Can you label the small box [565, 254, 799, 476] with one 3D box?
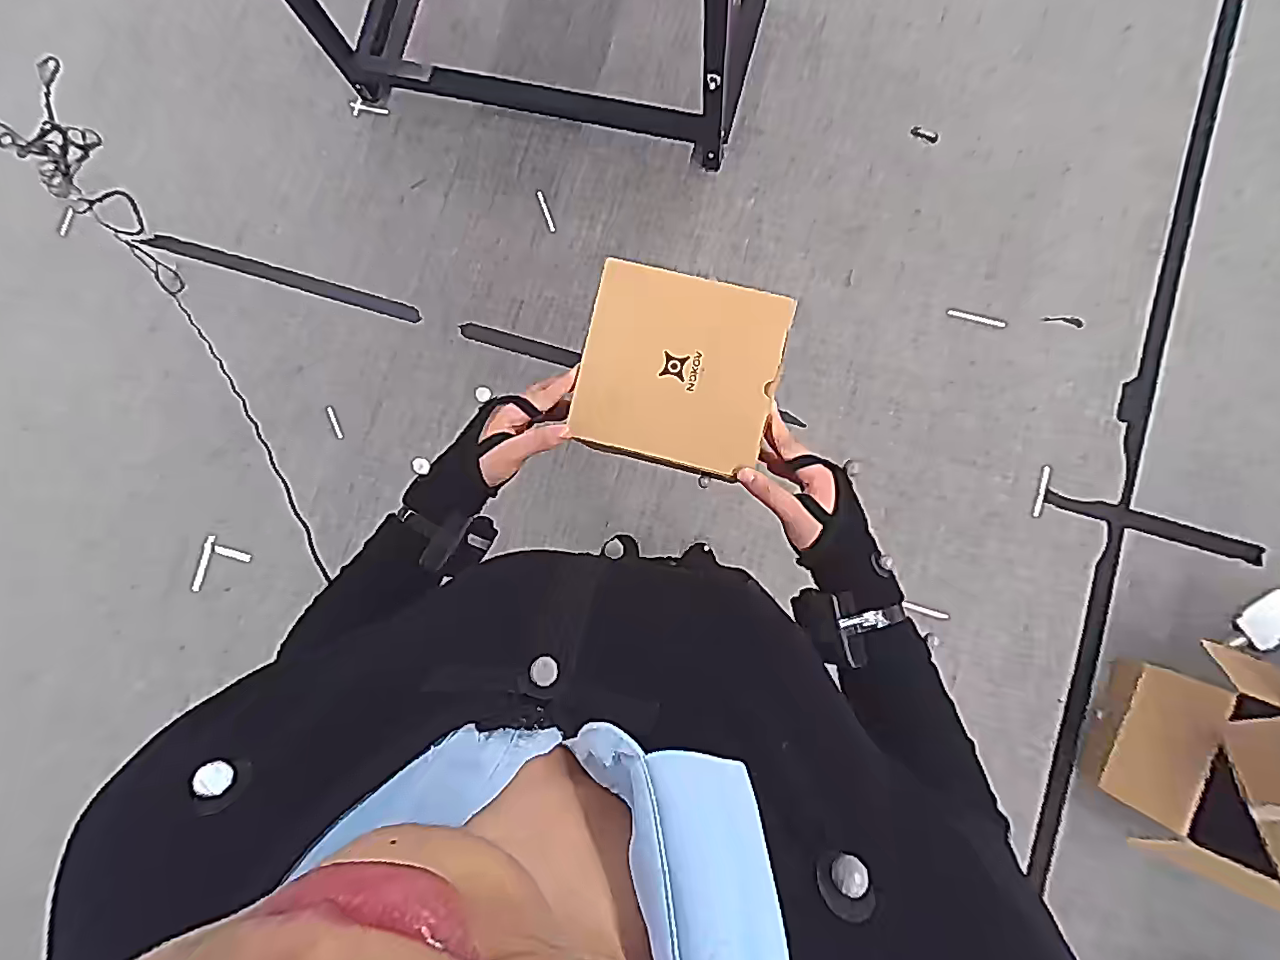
[{"bbox_3d":[0.040,-0.101,0.553,0.179,0.176,0.168,14,90,3],"label":"small box"}]
